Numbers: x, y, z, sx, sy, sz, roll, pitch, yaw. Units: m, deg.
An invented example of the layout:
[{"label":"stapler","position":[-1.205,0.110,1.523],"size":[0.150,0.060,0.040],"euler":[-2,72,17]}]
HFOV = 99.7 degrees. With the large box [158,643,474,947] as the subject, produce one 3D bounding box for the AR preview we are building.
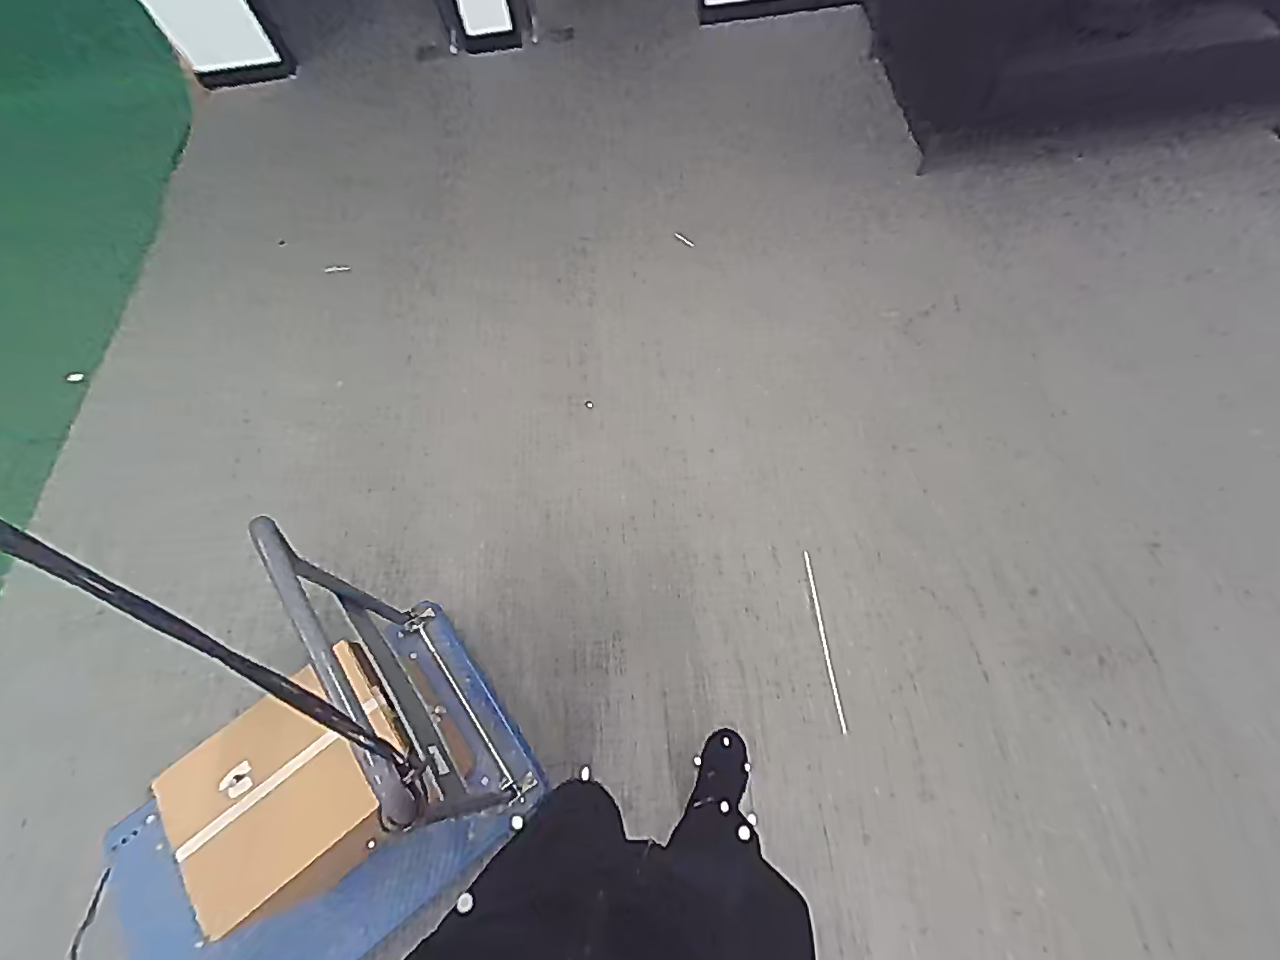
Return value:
[{"label":"large box","position":[-0.631,0.604,1.117],"size":[0.408,0.320,0.320],"euler":[-38,67,-12]}]
